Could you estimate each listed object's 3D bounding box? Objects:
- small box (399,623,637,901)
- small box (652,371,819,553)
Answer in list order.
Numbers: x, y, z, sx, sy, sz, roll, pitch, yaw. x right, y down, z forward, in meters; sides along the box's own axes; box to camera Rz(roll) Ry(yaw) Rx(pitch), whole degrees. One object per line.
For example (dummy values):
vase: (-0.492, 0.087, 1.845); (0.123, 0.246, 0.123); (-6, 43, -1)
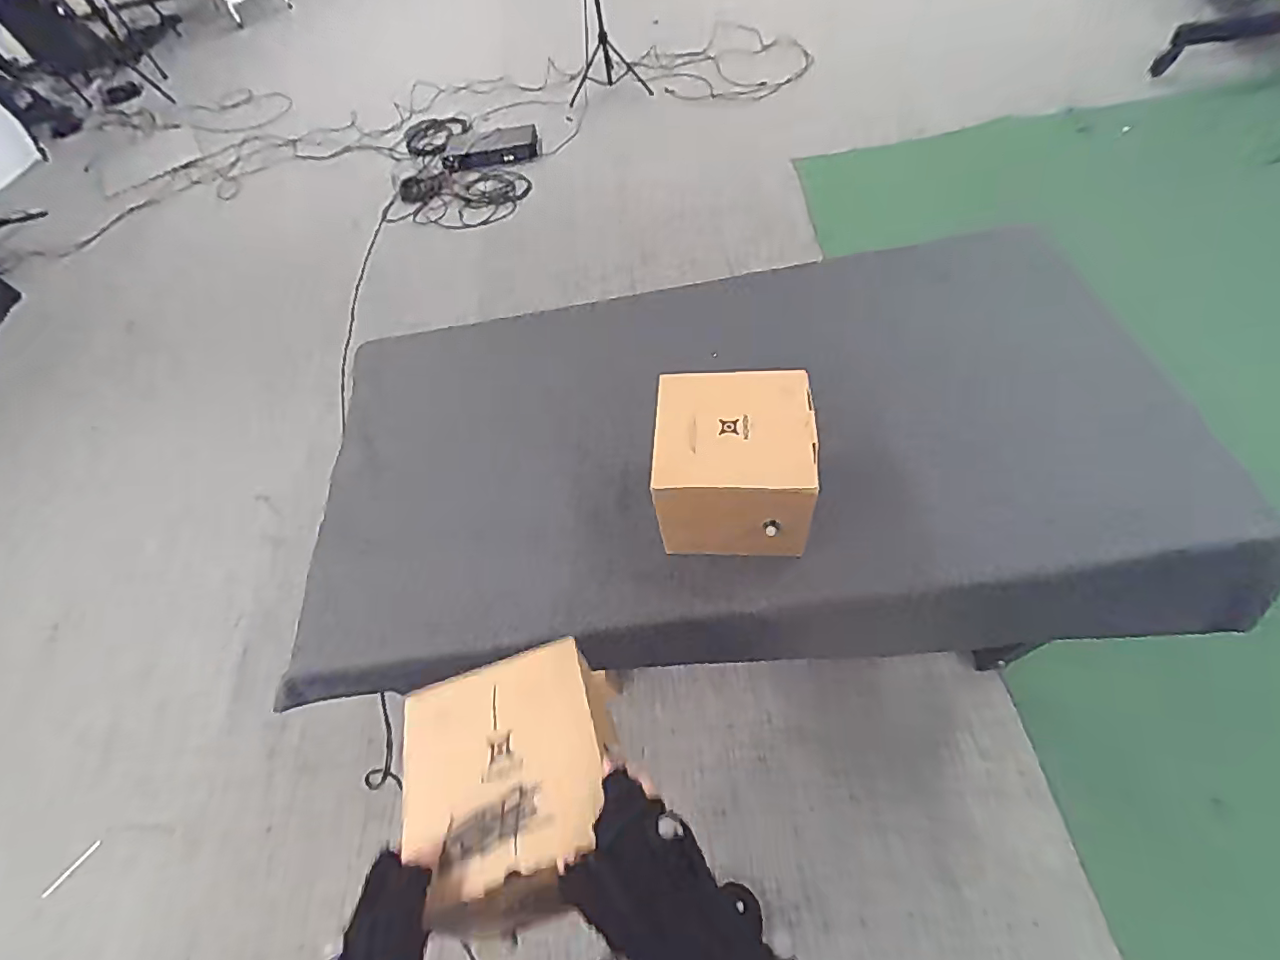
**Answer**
small box: (-0.108, 0.273, 0.517); (0.168, 0.176, 0.179); (-16, 45, -5)
small box: (0.117, -0.017, 0.675); (0.179, 0.176, 0.168); (0, 58, 10)
